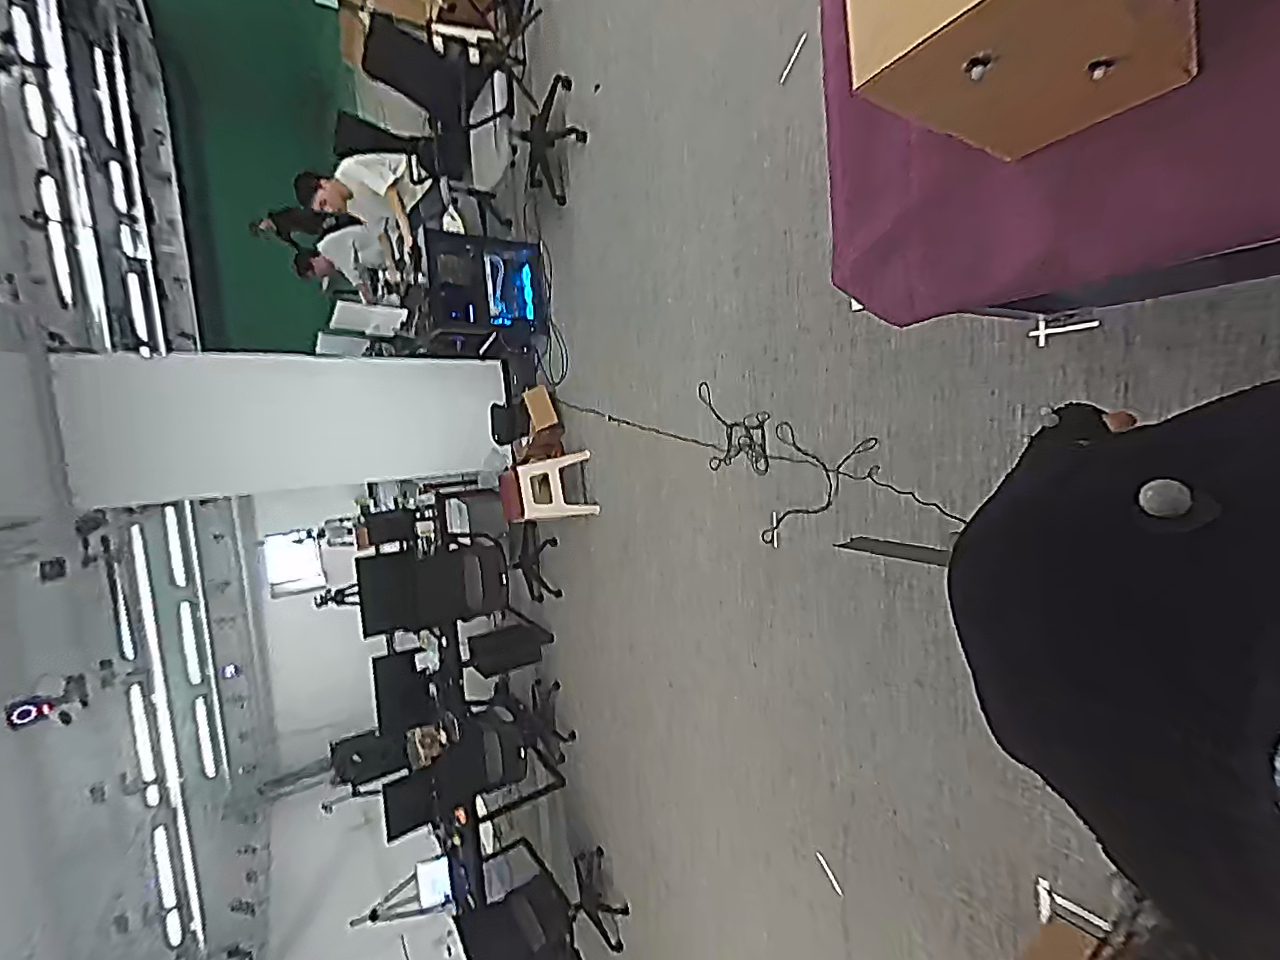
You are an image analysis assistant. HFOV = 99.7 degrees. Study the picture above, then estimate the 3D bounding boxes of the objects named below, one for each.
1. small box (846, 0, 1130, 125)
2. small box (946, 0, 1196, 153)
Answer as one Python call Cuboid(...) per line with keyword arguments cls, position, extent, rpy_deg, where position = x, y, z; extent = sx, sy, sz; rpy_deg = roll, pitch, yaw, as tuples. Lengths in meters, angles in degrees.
Cuboid(cls="small box", position=(0.310, -0.463, 0.484), extent=(0.179, 0.176, 0.168), rpy_deg=(-2, 94, 57))
Cuboid(cls="small box", position=(0.445, -0.485, 0.575), extent=(0.179, 0.176, 0.168), rpy_deg=(-2, 95, 56))
